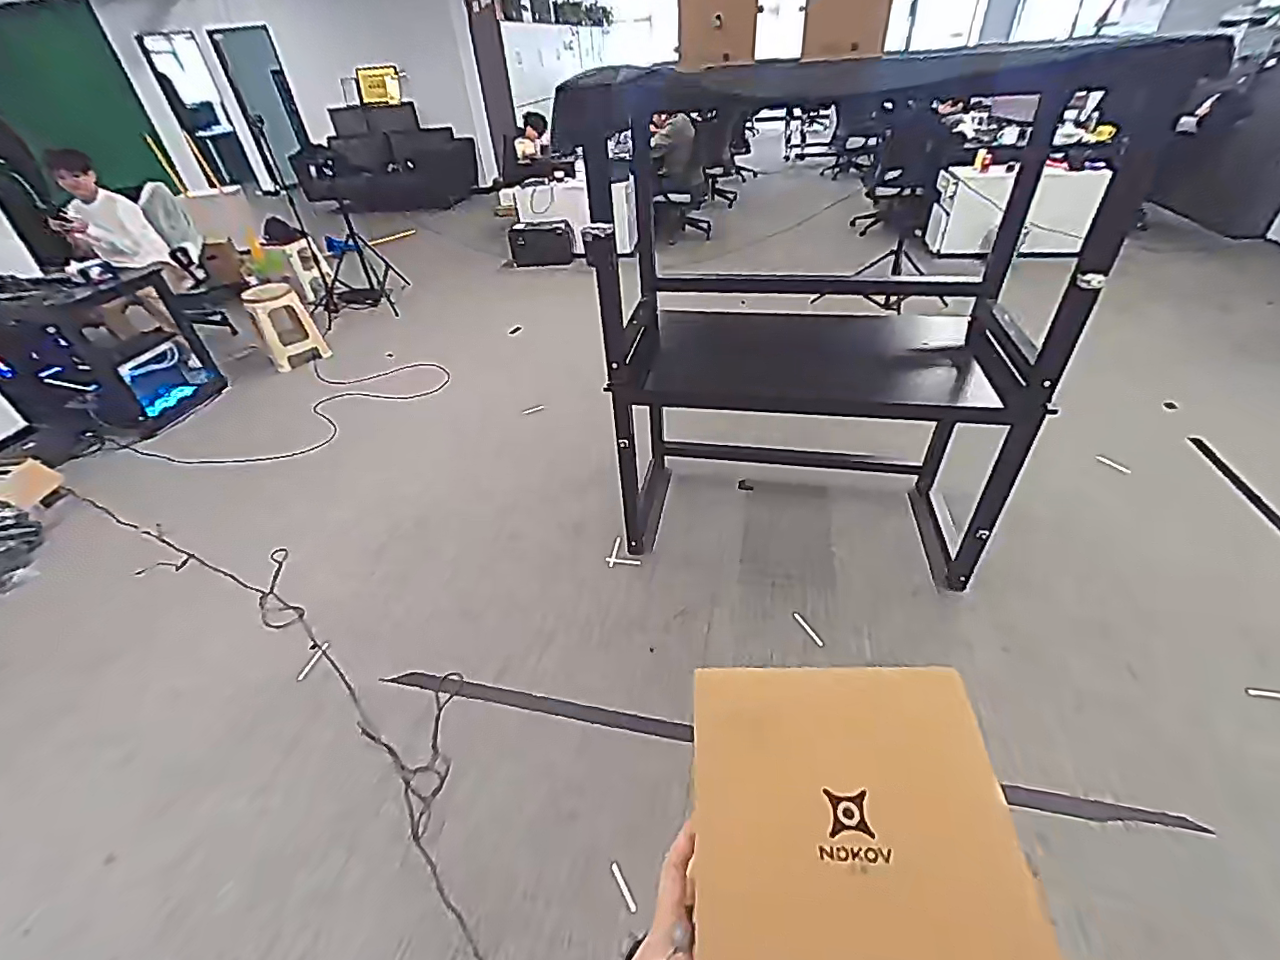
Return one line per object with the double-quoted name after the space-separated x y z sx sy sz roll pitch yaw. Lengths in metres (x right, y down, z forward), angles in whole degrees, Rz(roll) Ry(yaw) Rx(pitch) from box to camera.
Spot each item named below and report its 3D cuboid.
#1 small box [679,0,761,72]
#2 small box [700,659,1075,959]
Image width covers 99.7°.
0.173 -0.987 1.160 0.168 0.176 0.179 3 38 8 "small box"
0.122 0.233 0.338 0.168 0.176 0.179 -3 45 7 "small box"
